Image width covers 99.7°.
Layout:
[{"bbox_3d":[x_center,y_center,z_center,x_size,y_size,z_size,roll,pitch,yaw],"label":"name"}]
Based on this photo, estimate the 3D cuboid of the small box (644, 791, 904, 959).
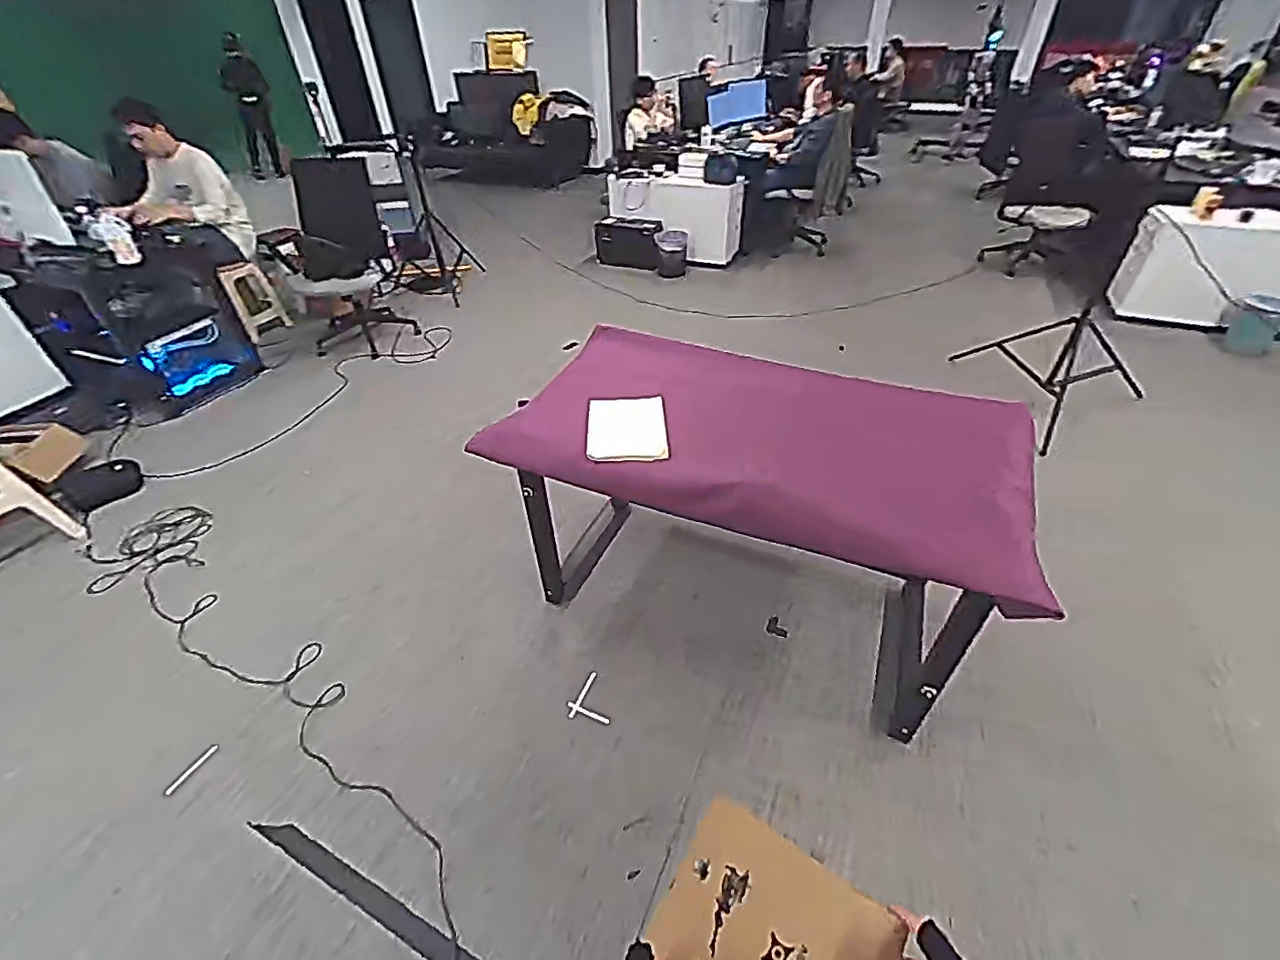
[{"bbox_3d":[0.119,0.439,0.544,0.179,0.176,0.168,31,66,12],"label":"small box"}]
